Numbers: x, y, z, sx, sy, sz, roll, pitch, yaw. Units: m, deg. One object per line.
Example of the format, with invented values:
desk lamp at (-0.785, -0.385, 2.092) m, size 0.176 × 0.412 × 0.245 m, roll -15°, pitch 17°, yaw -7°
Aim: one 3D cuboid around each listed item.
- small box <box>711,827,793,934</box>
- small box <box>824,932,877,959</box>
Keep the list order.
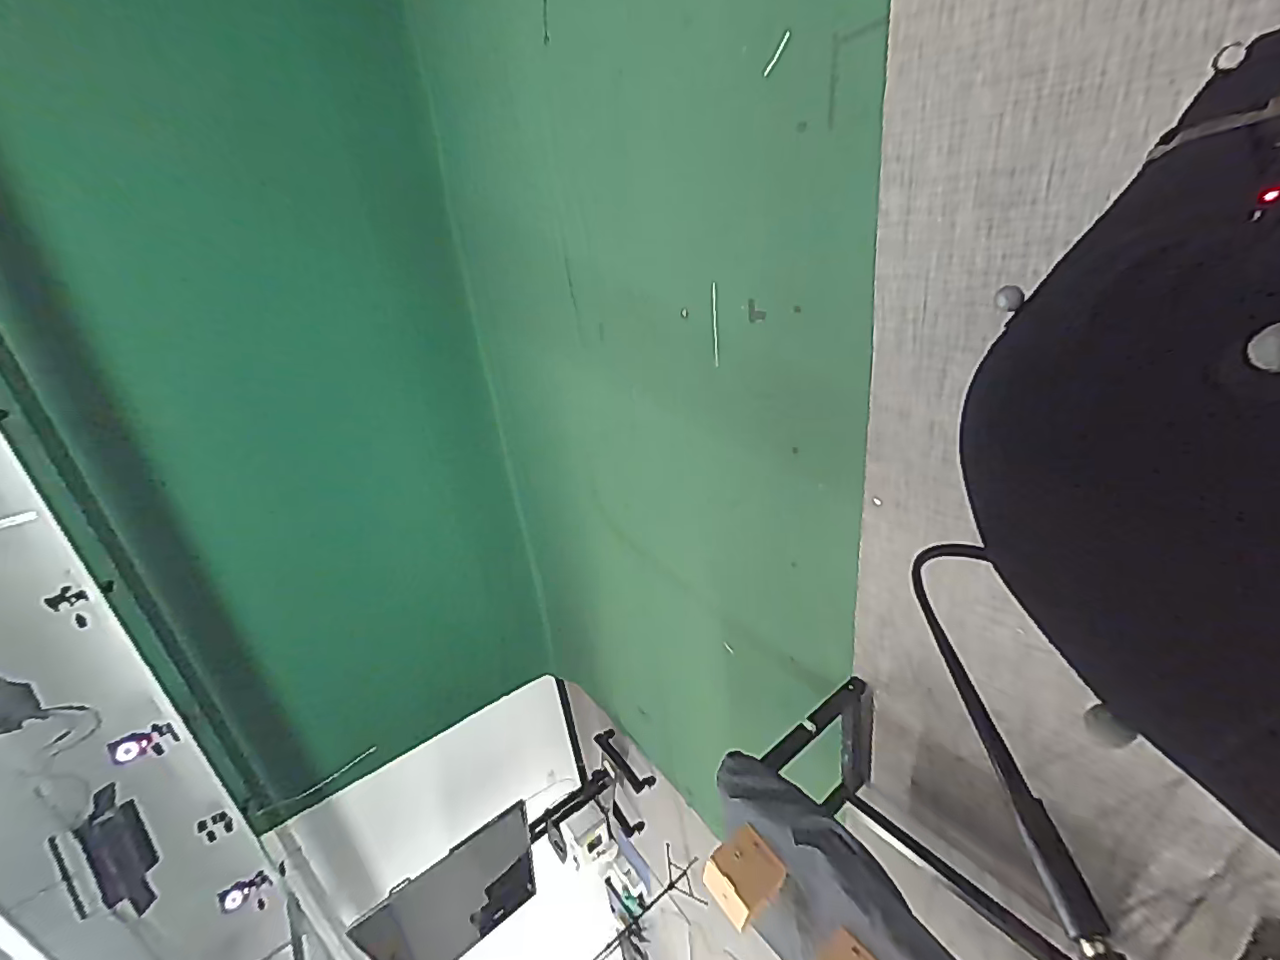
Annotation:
small box at (0.332, 1.182, 1.608) m, size 0.168 × 0.176 × 0.179 m, roll 37°, pitch 140°, yaw 41°
small box at (0.540, 1.302, 1.357) m, size 0.168 × 0.176 × 0.179 m, roll 25°, pitch 131°, yaw 49°
